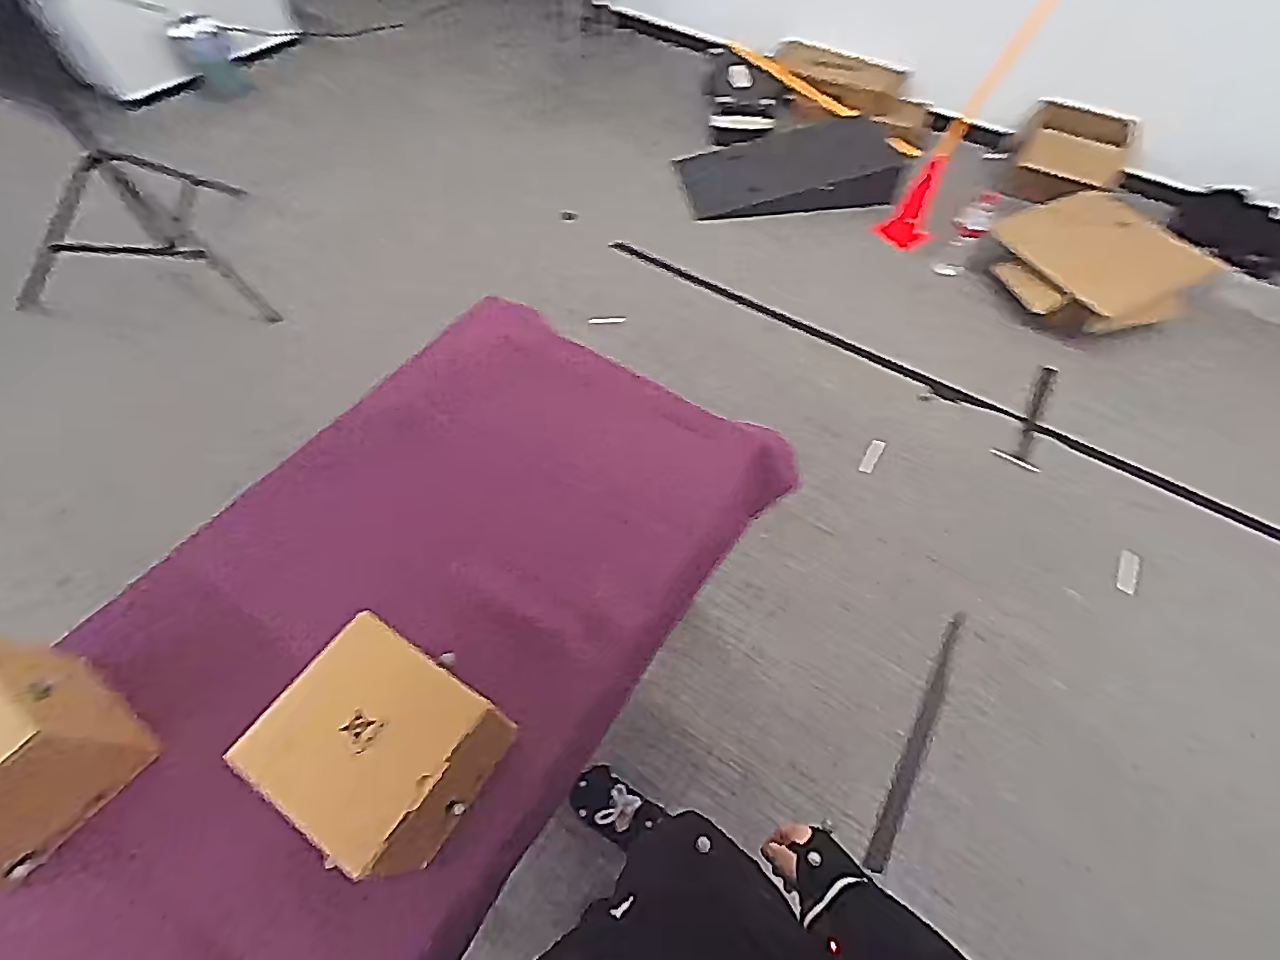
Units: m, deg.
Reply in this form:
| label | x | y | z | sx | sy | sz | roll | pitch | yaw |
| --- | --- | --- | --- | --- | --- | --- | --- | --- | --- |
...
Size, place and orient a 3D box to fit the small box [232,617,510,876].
| label | x | y | z | sx | sy | sz | roll | pitch | yaw |
| --- | --- | --- | --- | --- | --- | --- | --- | --- | --- |
| small box | -0.265 | 0.283 | 0.578 | 0.179 | 0.176 | 0.168 | 29 | 60 | 15 |

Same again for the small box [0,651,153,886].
| label | x | y | z | sx | sy | sz | roll | pitch | yaw |
| --- | --- | --- | --- | --- | --- | --- | --- | --- | --- |
| small box | -0.666 | 0.291 | 0.548 | 0.179 | 0.176 | 0.168 | 32 | 61 | 15 |
